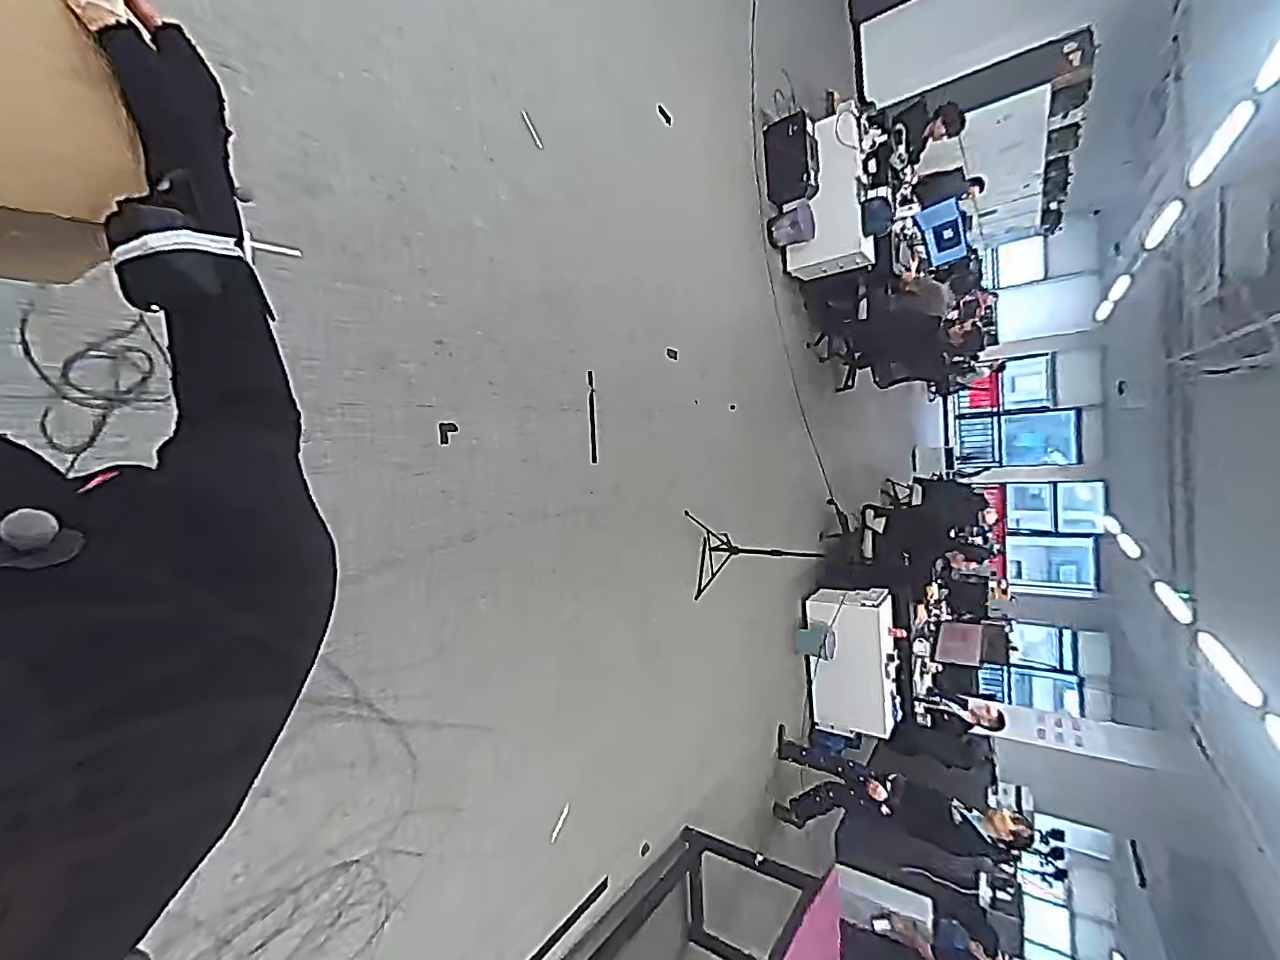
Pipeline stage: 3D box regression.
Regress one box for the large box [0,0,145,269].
[{"bbox_3d":[-0.621,-0.336,0.319,0.408,0.320,0.320,-13,106,-54],"label":"large box"}]
